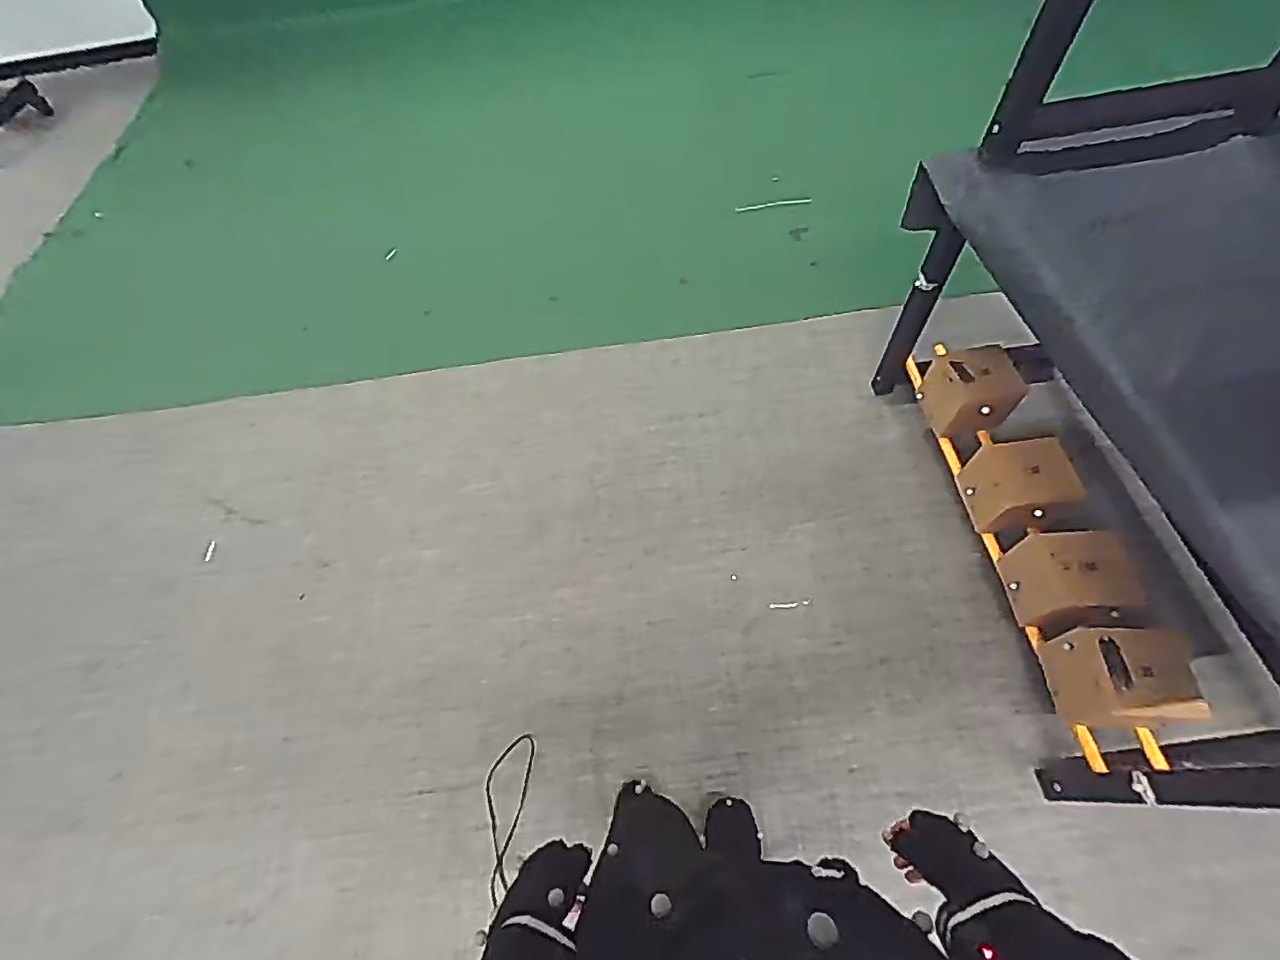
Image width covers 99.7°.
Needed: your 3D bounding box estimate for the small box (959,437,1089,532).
[{"bbox_3d":[0.928,0.014,1.326,0.179,0.176,0.168,-8,61,5],"label":"small box"}]
